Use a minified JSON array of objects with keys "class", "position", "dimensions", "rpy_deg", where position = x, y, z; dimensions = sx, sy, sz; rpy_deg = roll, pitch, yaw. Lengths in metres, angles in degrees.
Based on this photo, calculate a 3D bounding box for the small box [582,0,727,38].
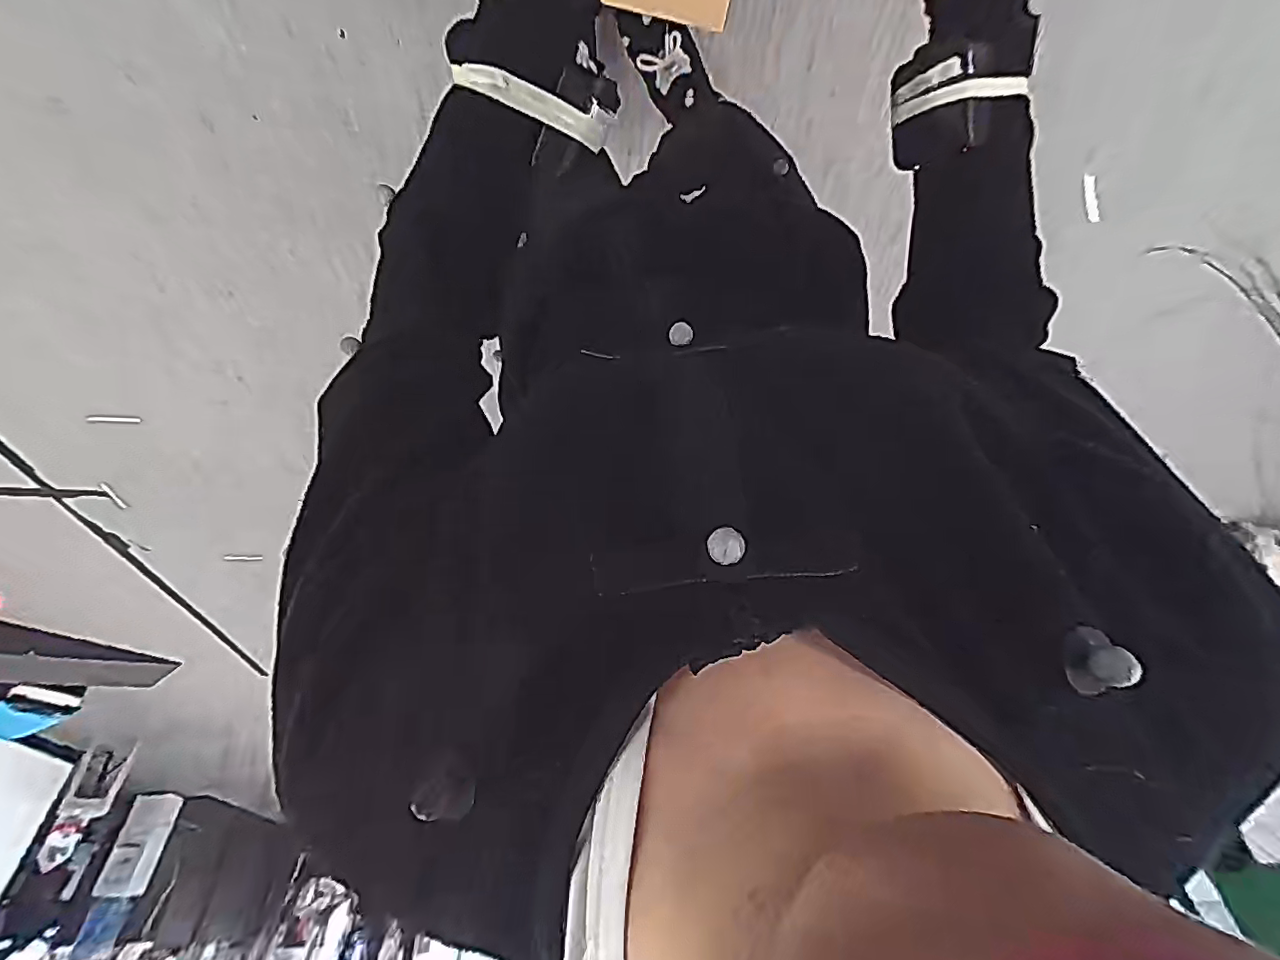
[{"class":"small box","position":[0.025,-0.676,0.657],"dimensions":[0.179,0.176,0.168],"rpy_deg":[5,140,-10]}]
